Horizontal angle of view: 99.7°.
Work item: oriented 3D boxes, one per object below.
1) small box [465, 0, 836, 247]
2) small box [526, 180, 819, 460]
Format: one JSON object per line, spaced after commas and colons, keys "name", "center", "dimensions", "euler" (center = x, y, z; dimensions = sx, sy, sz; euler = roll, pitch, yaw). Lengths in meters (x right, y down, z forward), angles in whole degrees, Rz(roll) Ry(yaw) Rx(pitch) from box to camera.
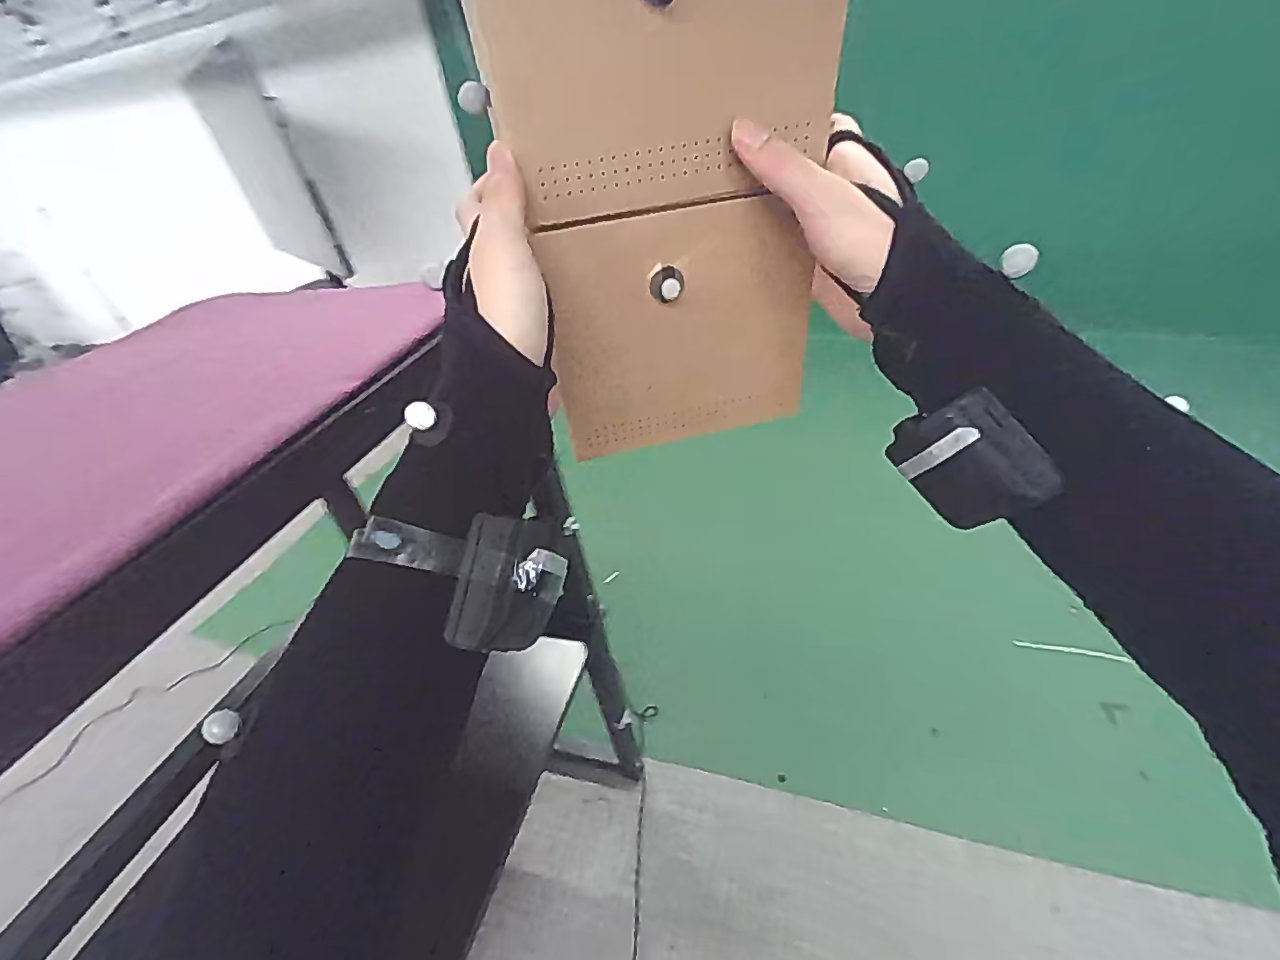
{"name": "small box", "center": [-0.004, -0.255, 0.309], "dimensions": [0.179, 0.176, 0.168], "euler": [-15, 42, -6]}
{"name": "small box", "center": [0.017, -0.135, 0.418], "dimensions": [0.179, 0.176, 0.168], "euler": [-12, 43, -4]}
